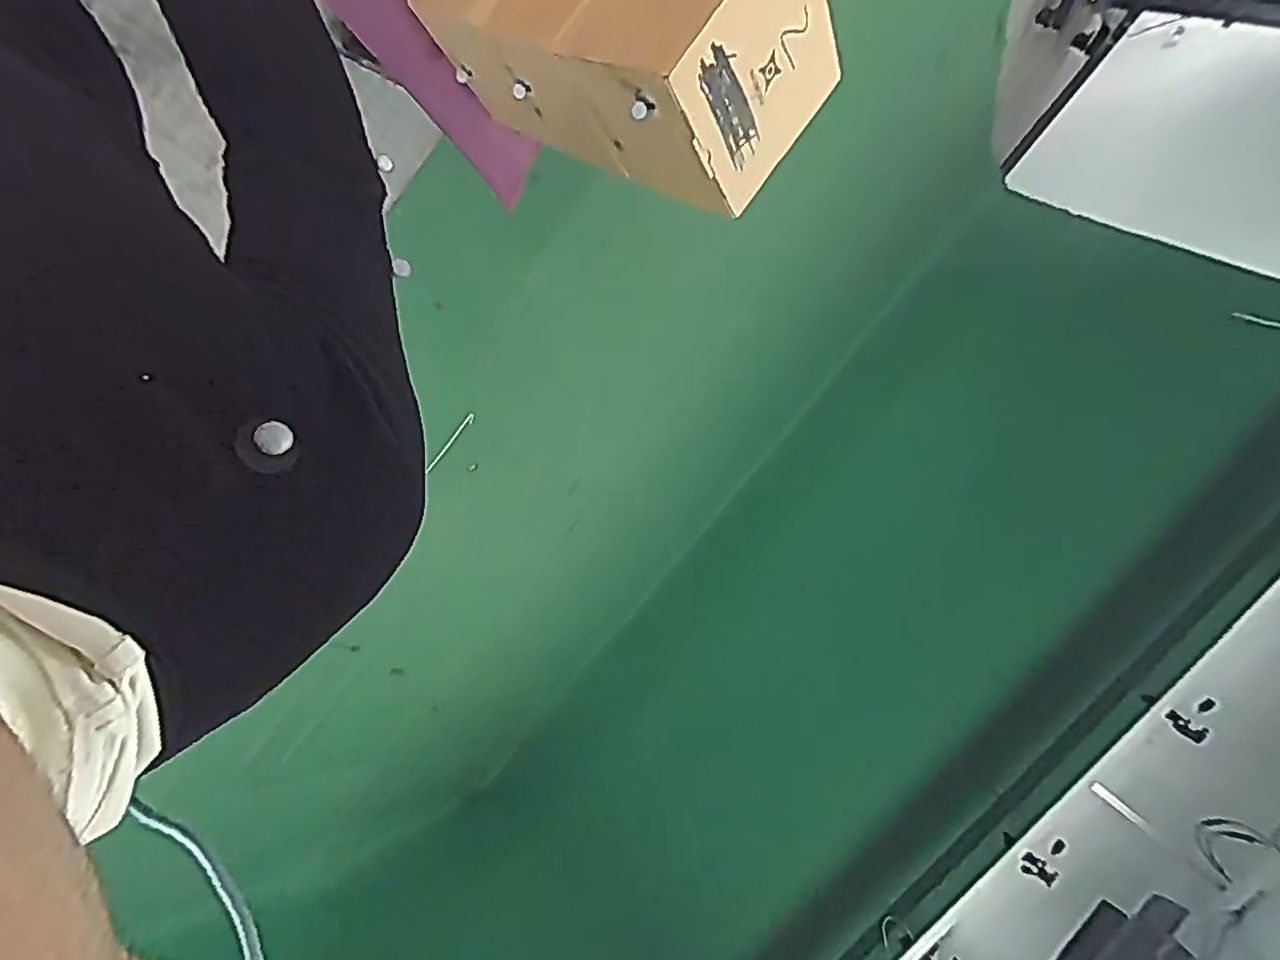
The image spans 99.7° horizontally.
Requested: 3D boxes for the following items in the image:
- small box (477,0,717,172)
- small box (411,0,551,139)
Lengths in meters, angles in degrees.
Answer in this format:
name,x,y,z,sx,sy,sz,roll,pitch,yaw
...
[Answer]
name,x,y,z,sx,sy,sz,roll,pitch,yaw
small box,-0.048,-0.501,0.613,0.179,0.176,0.168,-50,148,3
small box,-0.155,-0.593,0.694,0.168,0.176,0.179,-50,150,2
